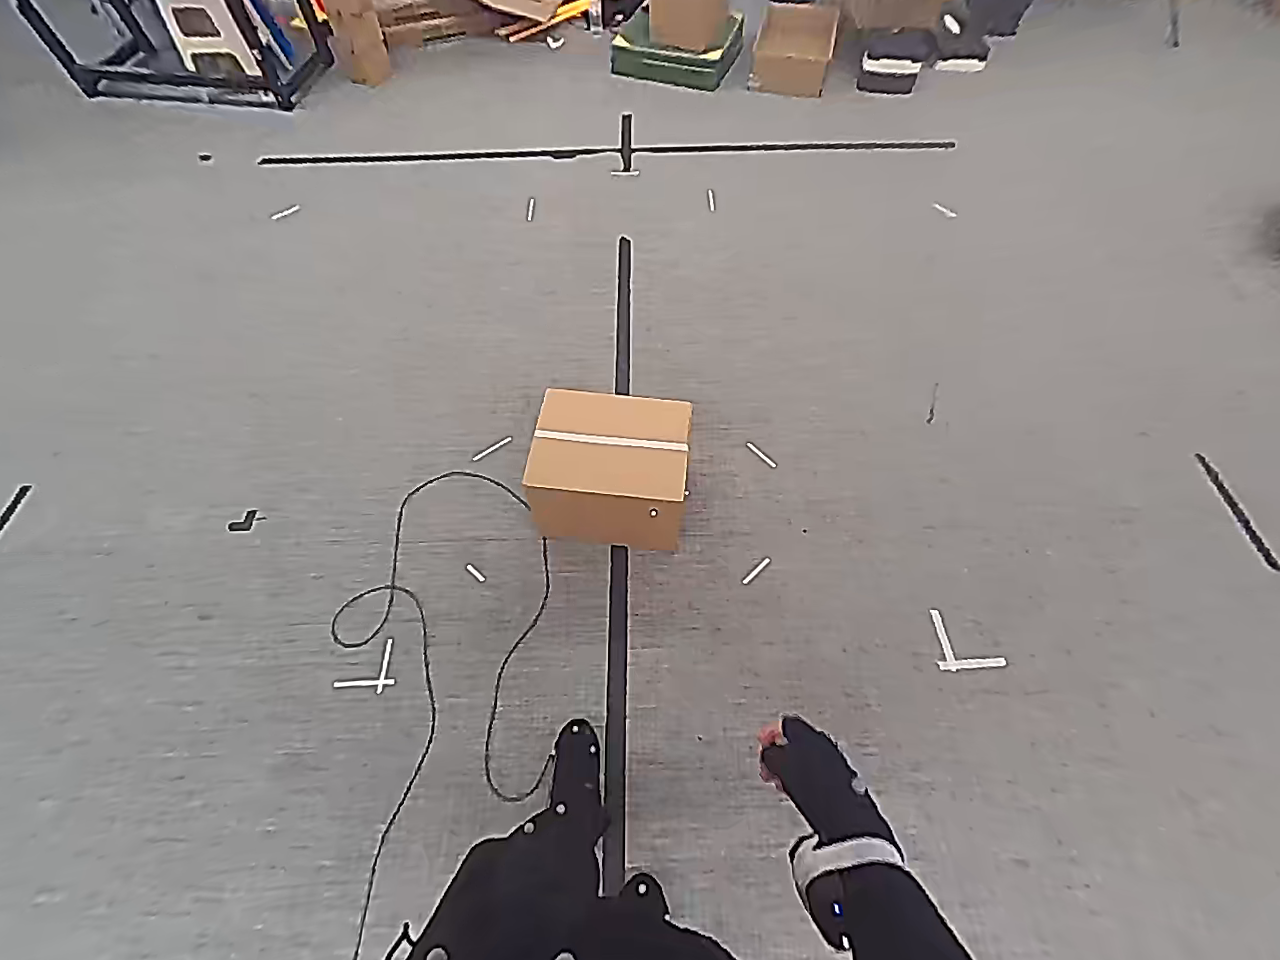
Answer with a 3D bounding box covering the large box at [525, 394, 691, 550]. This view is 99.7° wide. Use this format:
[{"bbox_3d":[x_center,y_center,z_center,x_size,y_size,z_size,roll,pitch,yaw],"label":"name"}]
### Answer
[{"bbox_3d":[-0.071,-0.013,1.523,0.408,0.320,0.320,6,59,3],"label":"large box"}]
